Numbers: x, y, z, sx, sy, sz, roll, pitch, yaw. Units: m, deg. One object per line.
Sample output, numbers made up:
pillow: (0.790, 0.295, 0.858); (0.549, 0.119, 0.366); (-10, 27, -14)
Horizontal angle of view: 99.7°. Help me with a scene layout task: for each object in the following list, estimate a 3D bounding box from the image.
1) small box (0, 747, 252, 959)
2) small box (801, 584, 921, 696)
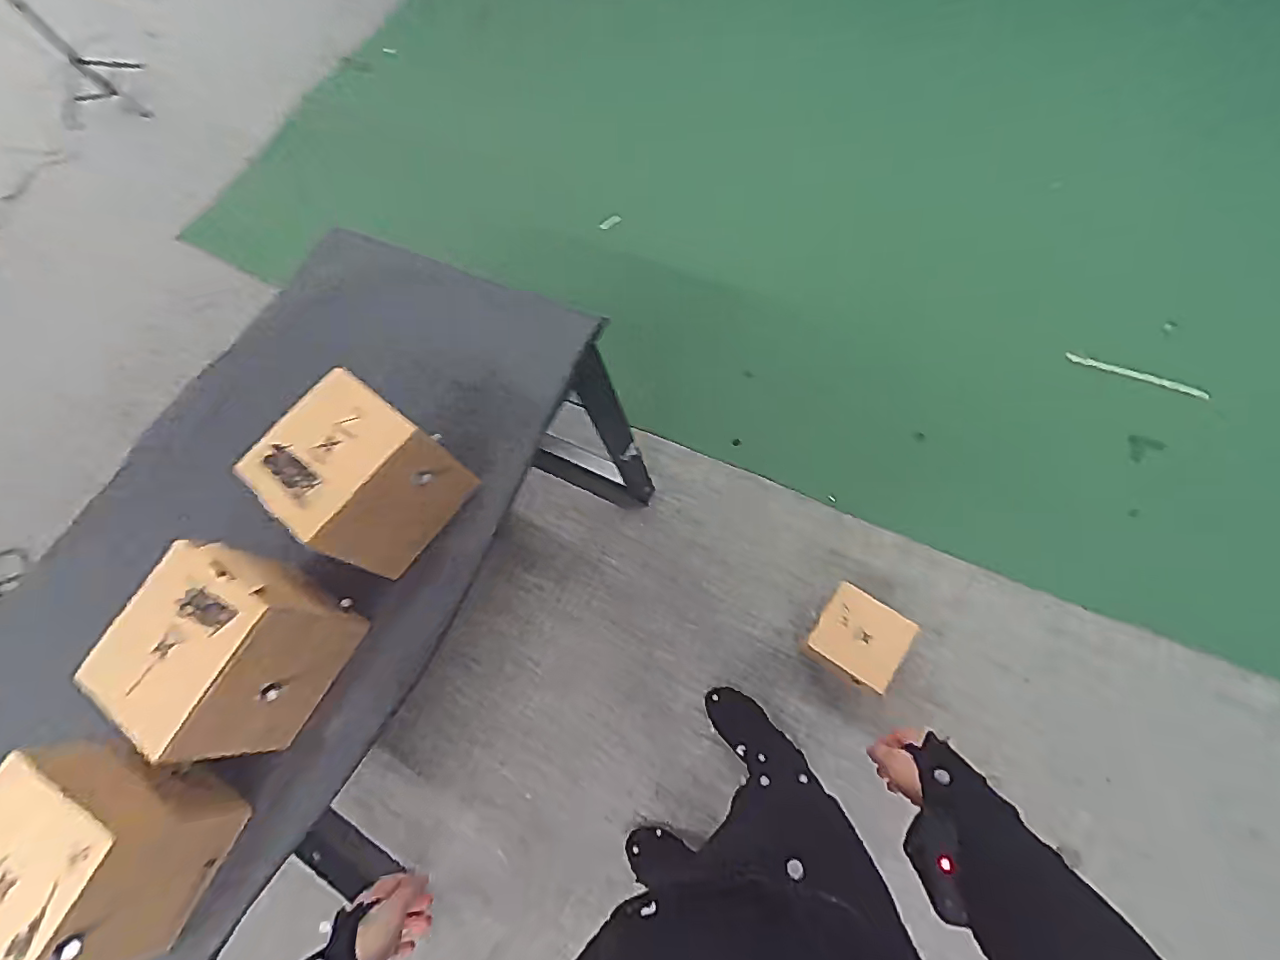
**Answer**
small box: (-0.586, 0.410, 0.585); (0.179, 0.176, 0.168); (22, 74, 18)
small box: (0.484, 0.358, 1.209); (0.179, 0.176, 0.168); (32, 77, 20)
